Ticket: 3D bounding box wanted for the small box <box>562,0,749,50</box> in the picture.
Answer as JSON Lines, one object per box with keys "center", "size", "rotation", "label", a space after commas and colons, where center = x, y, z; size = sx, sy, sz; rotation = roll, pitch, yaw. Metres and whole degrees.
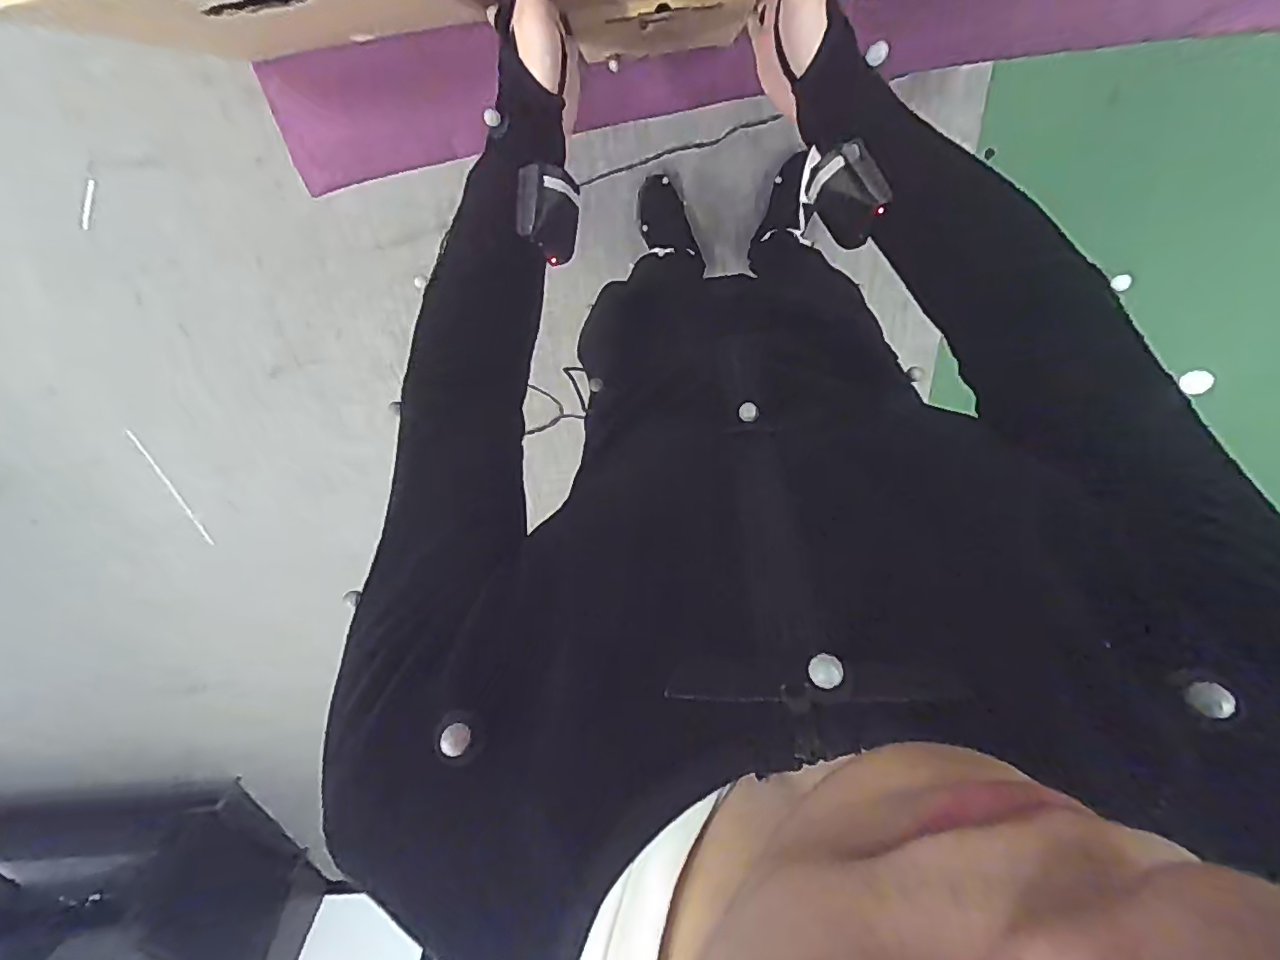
{"center": [0.009, -0.510, 0.482], "size": [0.168, 0.176, 0.179], "rotation": [-6, 119, 4], "label": "small box"}
